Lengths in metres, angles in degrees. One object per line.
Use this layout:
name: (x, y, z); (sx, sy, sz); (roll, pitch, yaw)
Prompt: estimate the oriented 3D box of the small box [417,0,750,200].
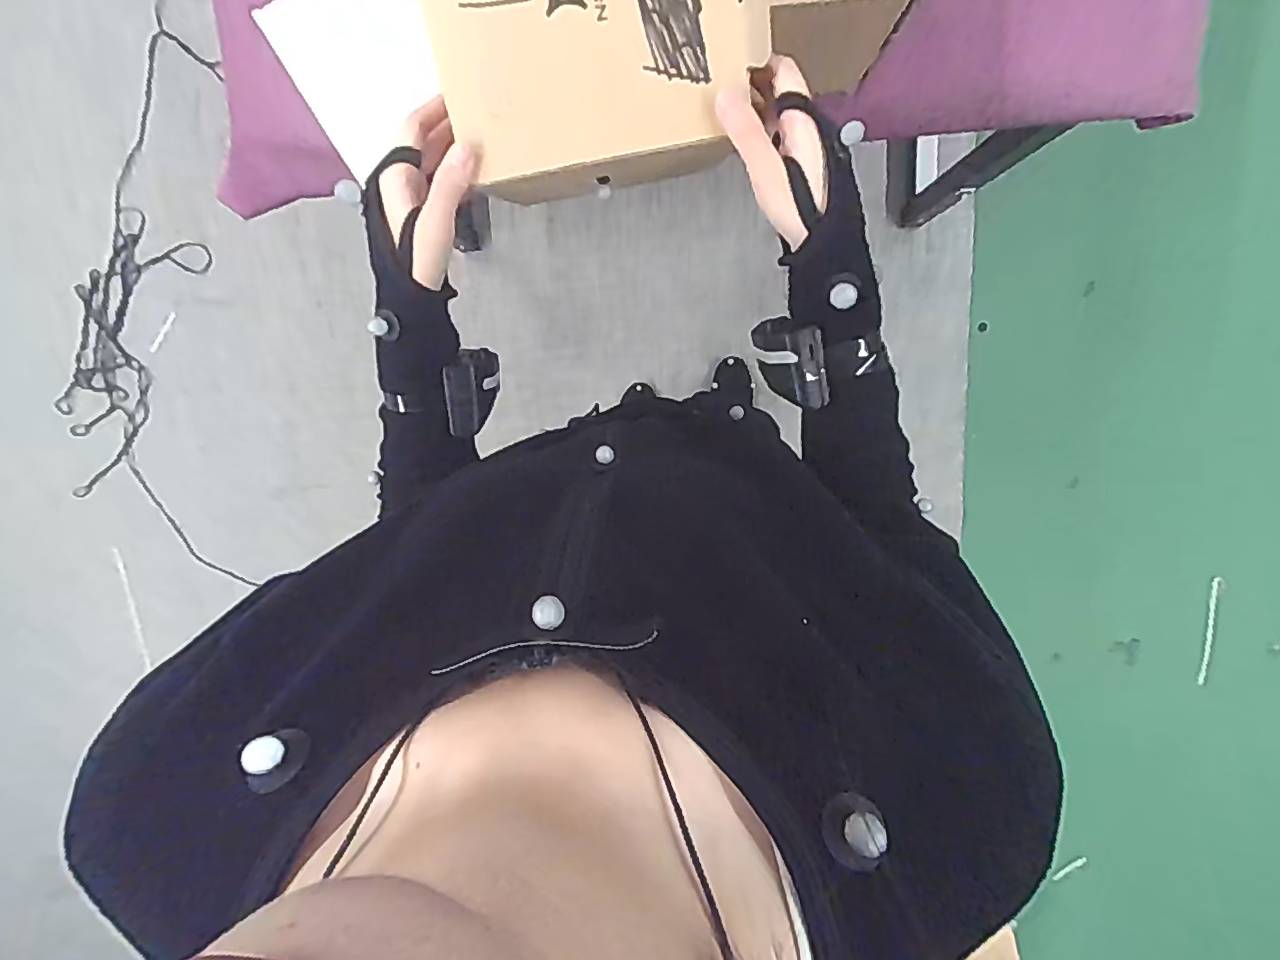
small box: (-0.034, -0.296, 0.360); (0.179, 0.176, 0.168); (-9, 112, 4)
